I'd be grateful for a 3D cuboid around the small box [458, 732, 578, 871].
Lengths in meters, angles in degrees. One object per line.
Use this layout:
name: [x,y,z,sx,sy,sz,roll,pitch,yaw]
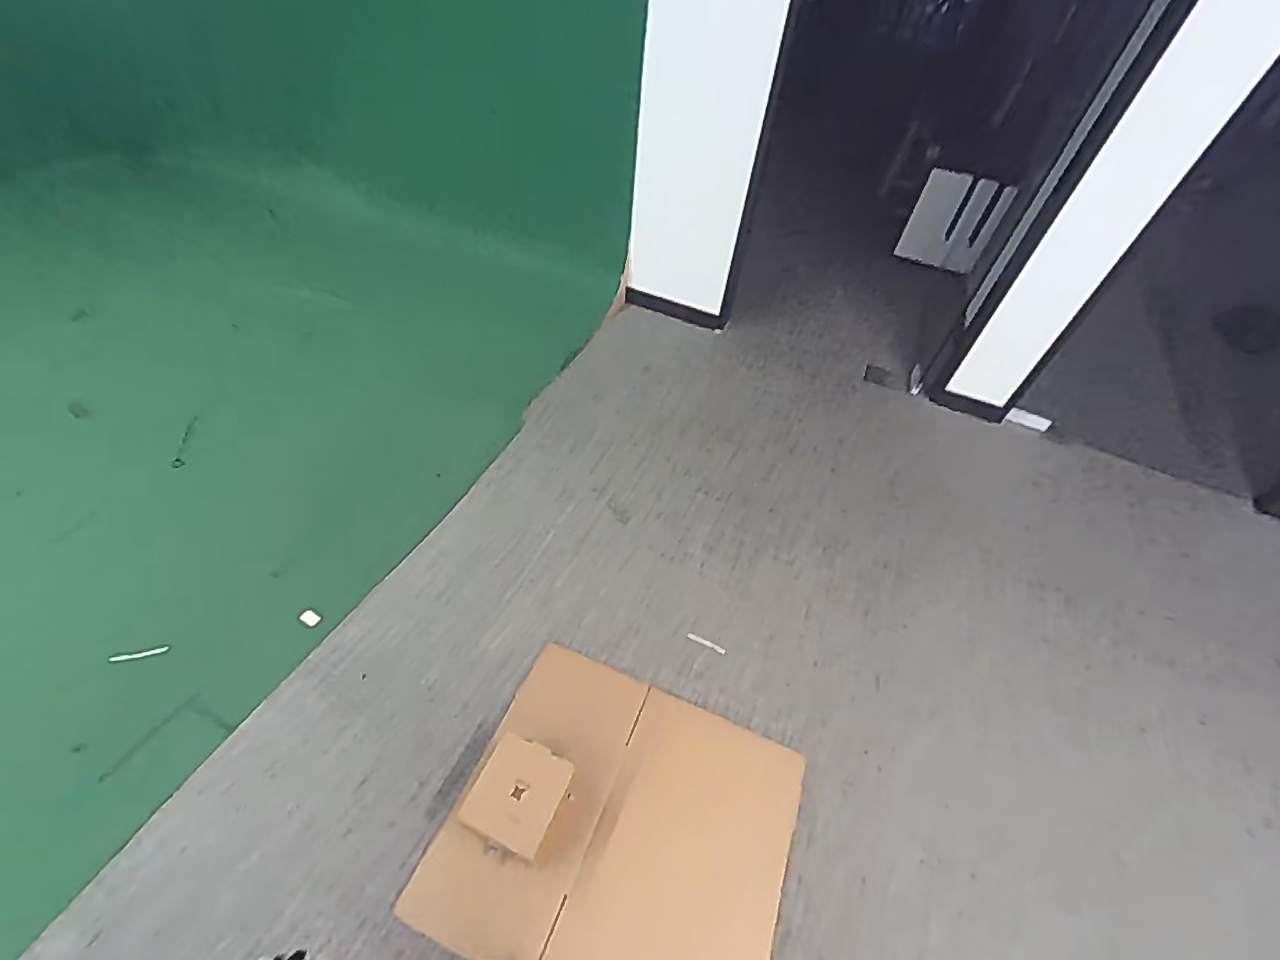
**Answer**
small box: [-0.238,0.651,1.092,0.168,0.176,0.179,20,50,12]
